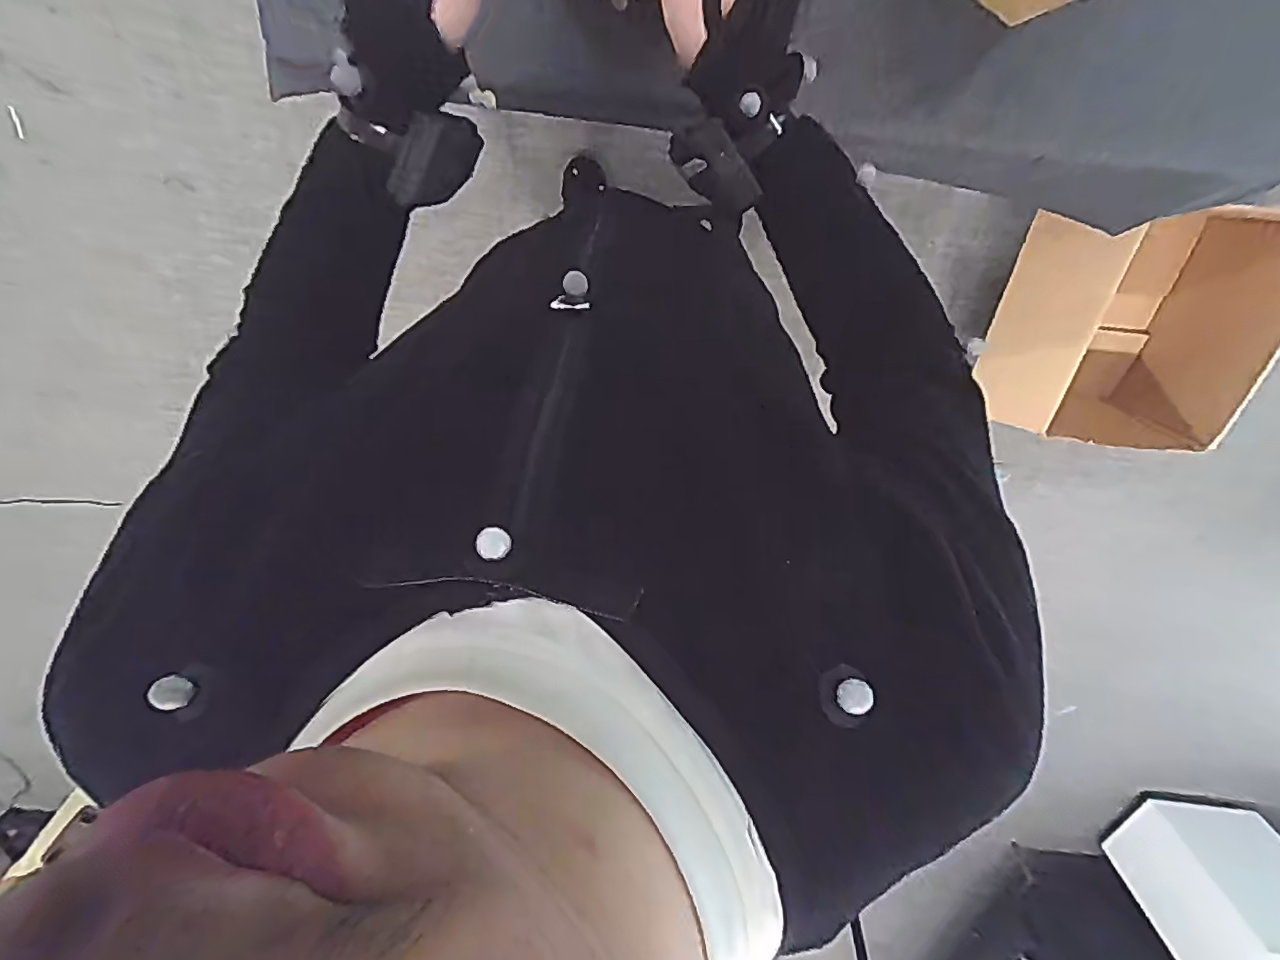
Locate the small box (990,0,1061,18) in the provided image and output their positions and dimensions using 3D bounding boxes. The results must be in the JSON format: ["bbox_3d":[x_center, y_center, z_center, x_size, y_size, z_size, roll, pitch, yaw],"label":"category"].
[{"bbox_3d":[0.374,-0.551,0.464,0.168,0.176,0.179,26,118,-12],"label":"small box"}]
